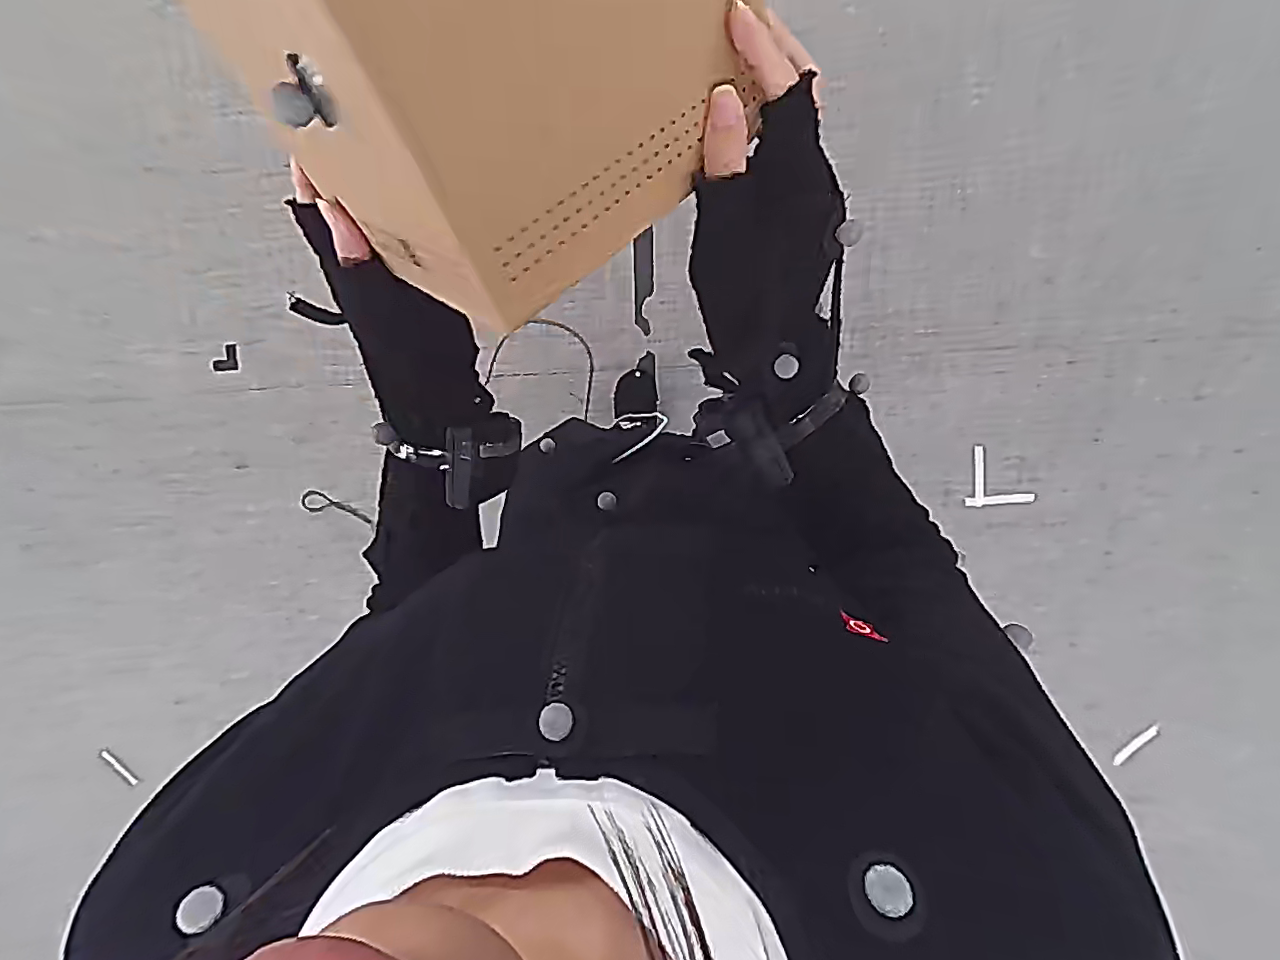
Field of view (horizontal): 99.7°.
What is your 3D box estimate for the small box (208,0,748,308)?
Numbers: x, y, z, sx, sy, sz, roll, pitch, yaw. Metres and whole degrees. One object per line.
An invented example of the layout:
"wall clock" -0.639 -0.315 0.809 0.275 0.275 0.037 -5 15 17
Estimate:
"small box" -0.068 -0.208 0.248 0.168 0.176 0.179 32 69 36
